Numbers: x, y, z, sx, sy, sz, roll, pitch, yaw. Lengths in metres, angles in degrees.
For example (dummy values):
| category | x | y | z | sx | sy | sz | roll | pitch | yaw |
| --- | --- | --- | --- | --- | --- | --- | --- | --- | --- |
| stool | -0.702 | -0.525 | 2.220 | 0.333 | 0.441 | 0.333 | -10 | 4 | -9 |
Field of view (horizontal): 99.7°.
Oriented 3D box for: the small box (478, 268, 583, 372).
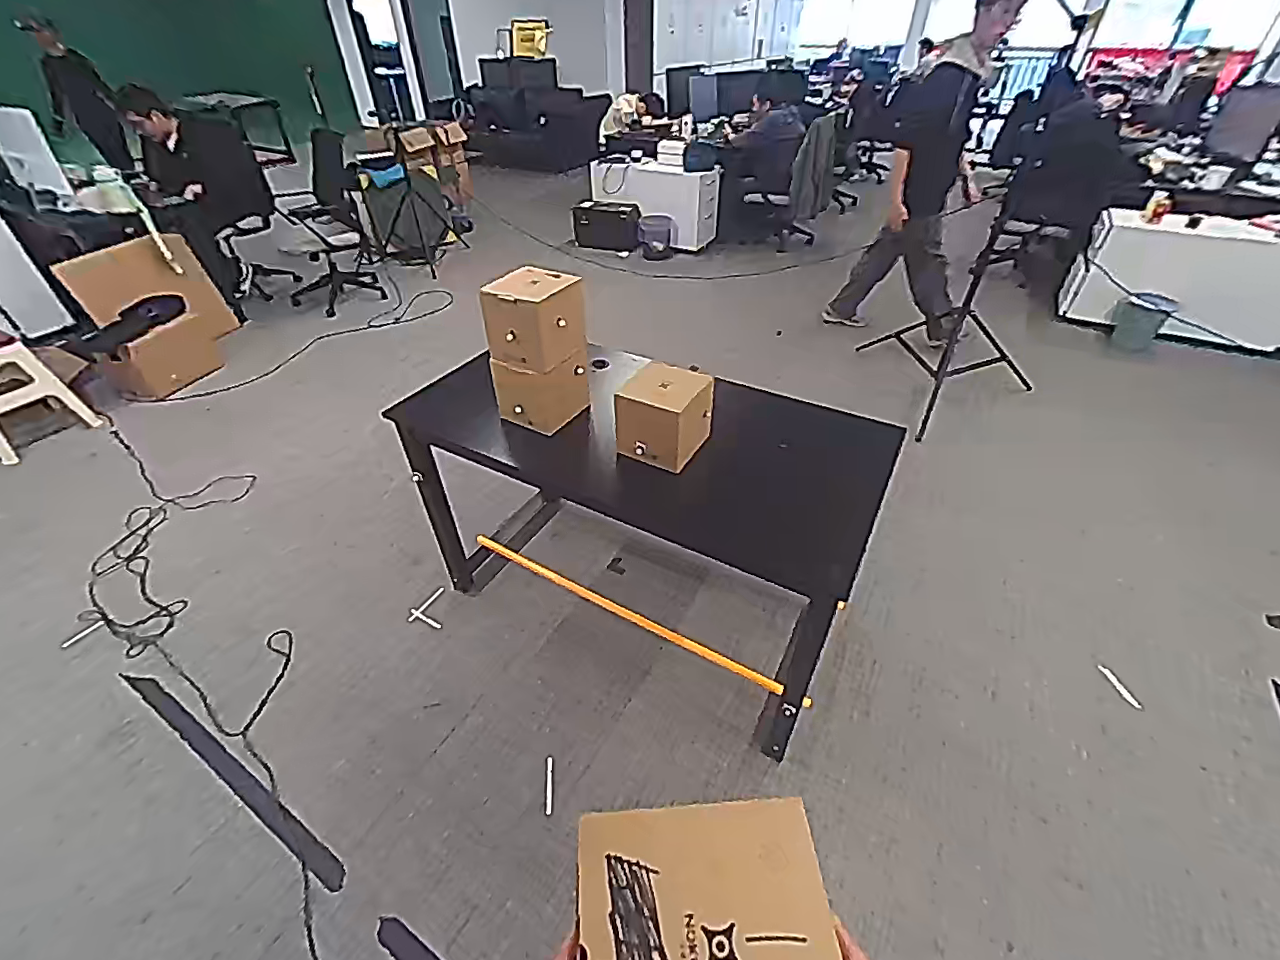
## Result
| category | x | y | z | sx | sy | sz | roll | pitch | yaw |
| --- | --- | --- | --- | --- | --- | --- | --- | --- | --- |
| small box | -0.244 | -0.374 | 1.266 | 0.168 | 0.176 | 0.179 | 20 | 45 | 21 |

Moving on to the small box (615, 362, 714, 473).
| category | x | y | z | sx | sy | sz | roll | pitch | yaw |
| --- | --- | --- | --- | --- | --- | --- | --- | --- | --- |
| small box | 0.057 | -0.145 | 1.253 | 0.168 | 0.176 | 0.179 | 19 | 45 | 23 |

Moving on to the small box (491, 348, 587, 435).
| category | x | y | z | sx | sy | sz | roll | pitch | yaw |
| --- | --- | --- | --- | --- | --- | --- | --- | --- | --- |
| small box | -0.246 | -0.243 | 1.365 | 0.168 | 0.176 | 0.179 | 21 | 45 | 24 |

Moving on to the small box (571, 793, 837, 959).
| category | x | y | z | sx | sy | sz | roll | pitch | yaw |
| --- | --- | --- | --- | --- | --- | --- | --- | --- | --- |
| small box | 0.040 | 0.361 | 0.416 | 0.179 | 0.176 | 0.168 | -2 | 45 | -4 |
